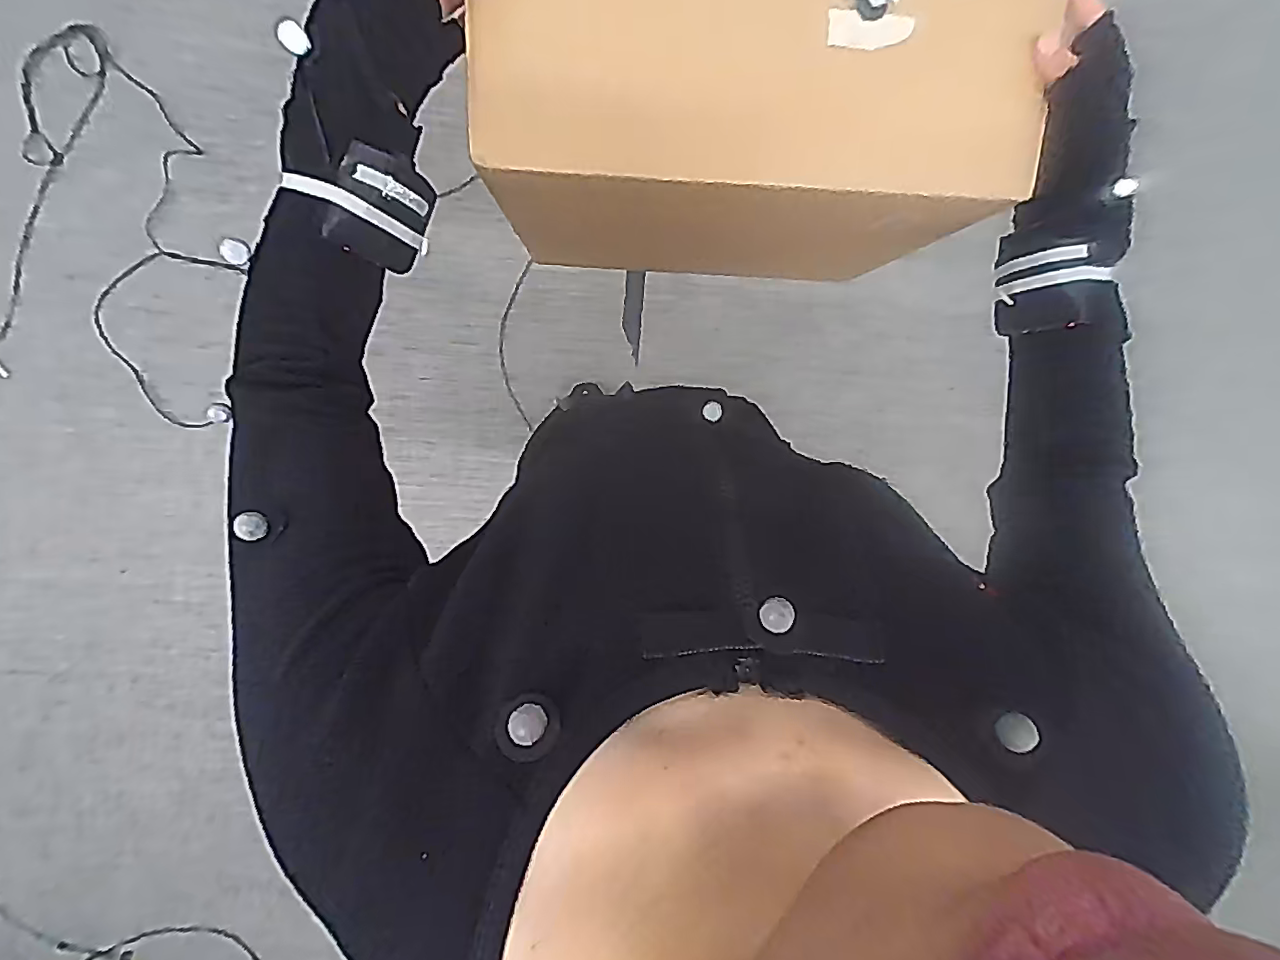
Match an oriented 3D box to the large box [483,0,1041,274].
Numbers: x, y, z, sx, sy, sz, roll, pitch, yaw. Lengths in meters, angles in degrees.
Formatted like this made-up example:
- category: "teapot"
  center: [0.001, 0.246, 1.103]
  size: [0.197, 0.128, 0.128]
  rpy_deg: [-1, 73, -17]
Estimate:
- category: "large box"
  center: [0.080, -0.395, 0.519]
  size: [0.408, 0.320, 0.320]
  rpy_deg: [2, 100, -4]
